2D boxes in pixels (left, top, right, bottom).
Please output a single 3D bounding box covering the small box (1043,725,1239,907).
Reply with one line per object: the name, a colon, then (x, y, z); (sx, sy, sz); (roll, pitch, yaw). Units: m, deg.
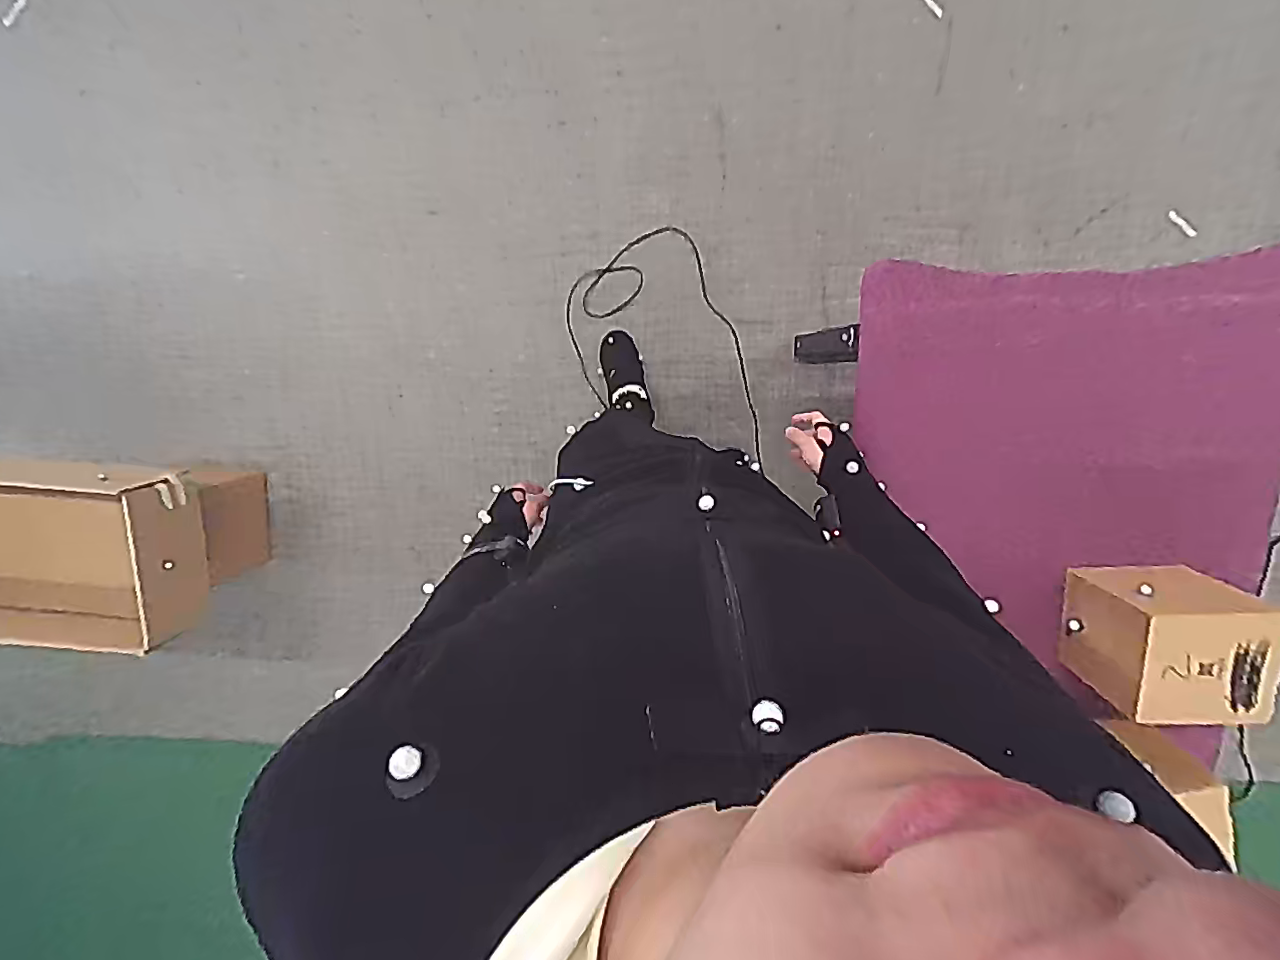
small box: (0.773, 0.525, 0.862); (0.179, 0.176, 0.168); (-15, 100, 7)
